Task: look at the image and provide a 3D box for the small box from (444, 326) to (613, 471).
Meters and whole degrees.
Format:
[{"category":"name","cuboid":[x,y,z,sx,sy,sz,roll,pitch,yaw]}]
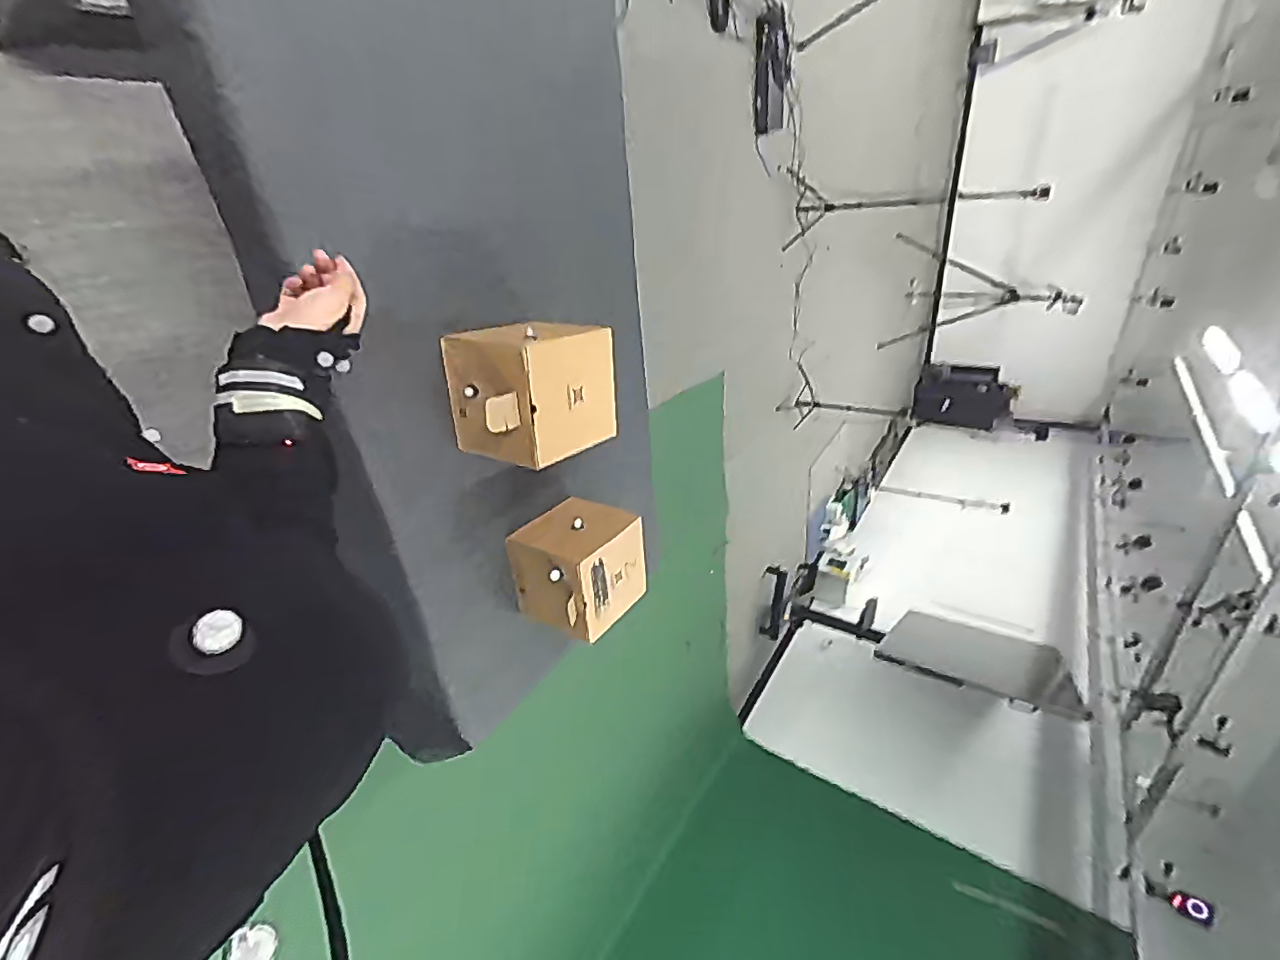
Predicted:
[{"category":"small box","cuboid":[-0.158,-0.131,0.800,0.179,0.176,0.168,-31,126,-48]}]
